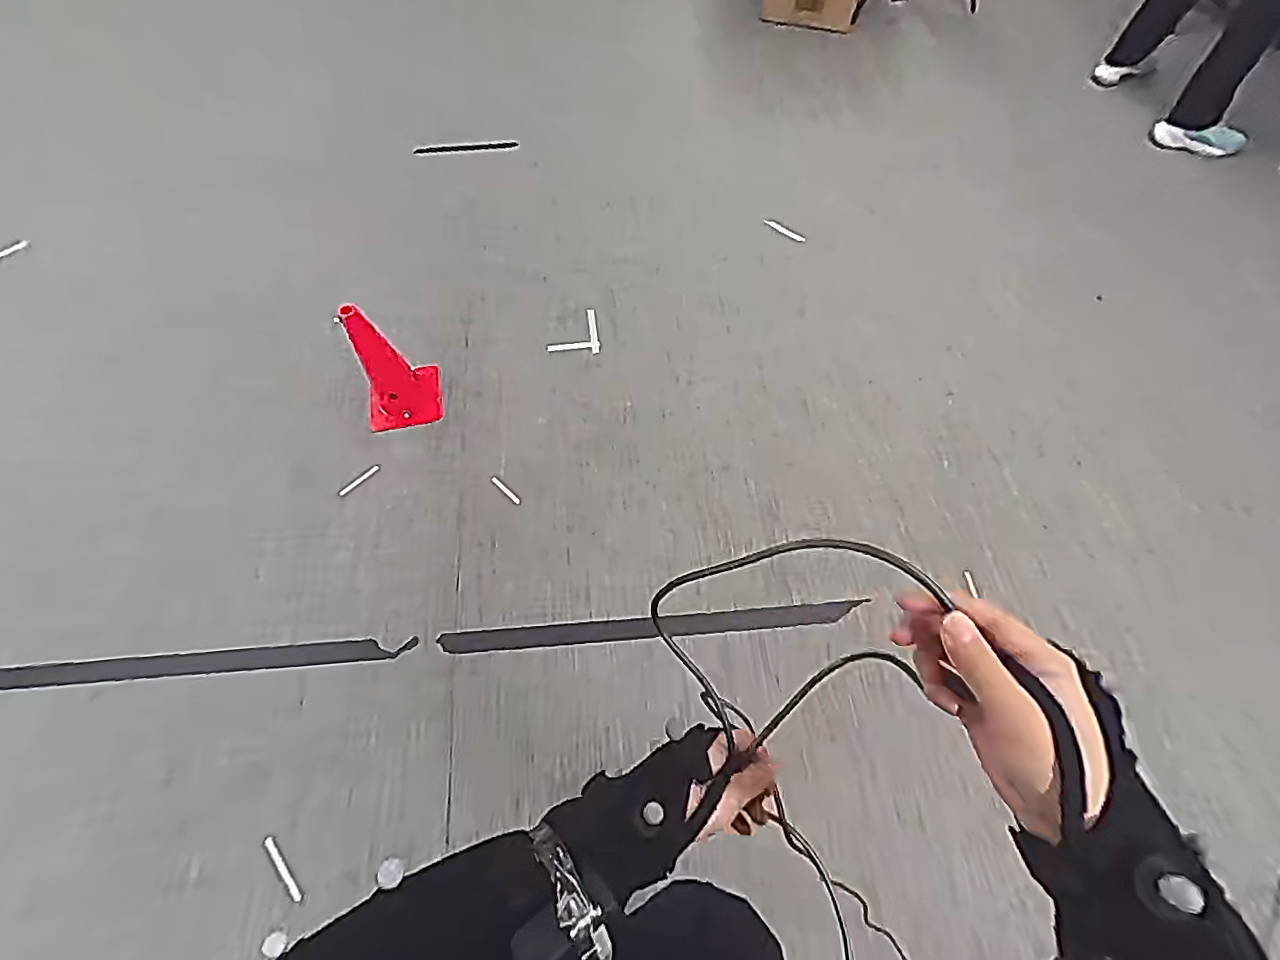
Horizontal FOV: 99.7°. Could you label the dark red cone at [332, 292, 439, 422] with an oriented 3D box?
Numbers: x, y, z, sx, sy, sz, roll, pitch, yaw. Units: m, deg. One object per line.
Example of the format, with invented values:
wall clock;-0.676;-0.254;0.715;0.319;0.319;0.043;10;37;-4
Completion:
dark red cone;-0.673;-0.326;1.380;0.202;0.394;0.201;-11;66;-6
